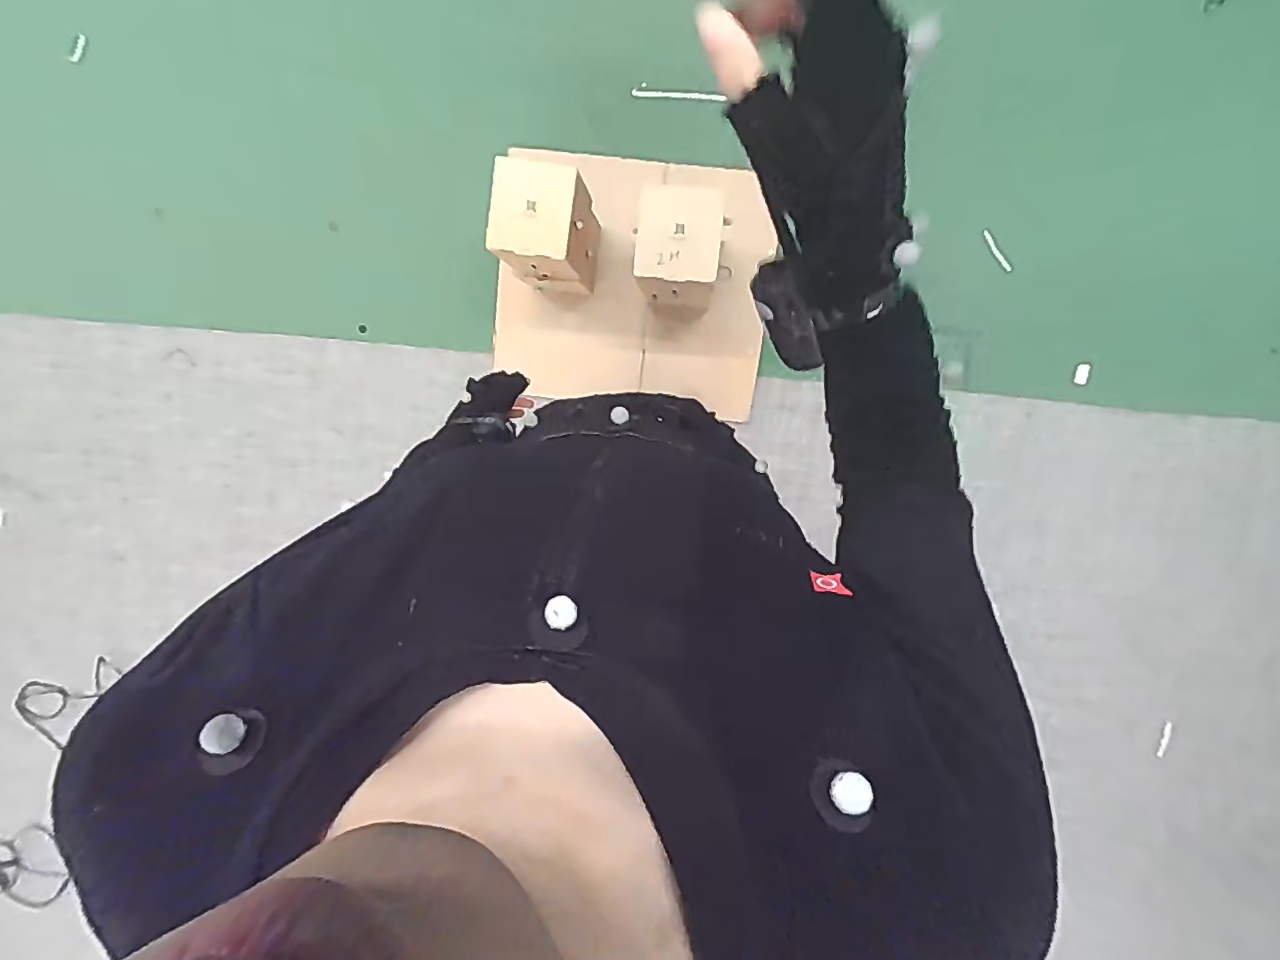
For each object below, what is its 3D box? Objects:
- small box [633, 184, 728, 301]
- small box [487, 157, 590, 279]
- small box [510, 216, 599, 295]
[{"bbox_3d":[0.082,-0.484,1.121,0.168,0.176,0.179,7,99,4],"label":"small box"},{"bbox_3d":[-0.206,-0.541,1.137,0.168,0.176,0.179,10,100,3],"label":"small box"},{"bbox_3d":[-0.200,-0.554,1.299,0.168,0.176,0.179,9,99,4],"label":"small box"}]
